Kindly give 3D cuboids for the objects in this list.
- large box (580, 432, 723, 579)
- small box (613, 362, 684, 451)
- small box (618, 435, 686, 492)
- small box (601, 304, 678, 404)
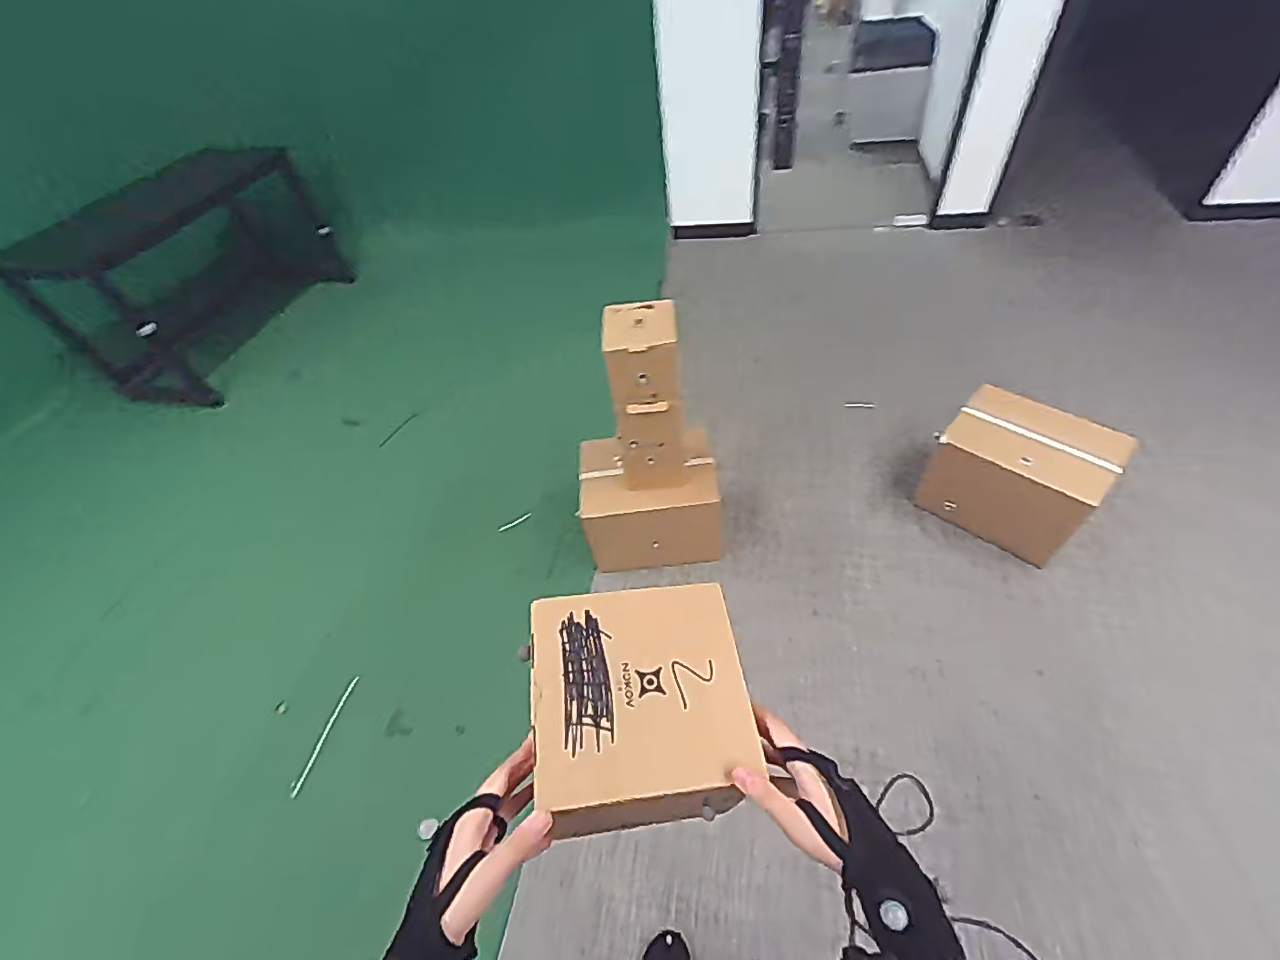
[{"bbox_3d":[0.038,0.086,1.732,0.408,0.320,0.320,-8,47,3],"label":"large box"},{"bbox_3d":[0.027,-0.188,1.427,0.168,0.176,0.179,-4,50,6],"label":"small box"},{"bbox_3d":[0.036,-0.078,1.548,0.179,0.176,0.168,-5,50,4],"label":"small box"},{"bbox_3d":[0.003,-0.297,1.305,0.168,0.176,0.179,-4,51,5],"label":"small box"}]
